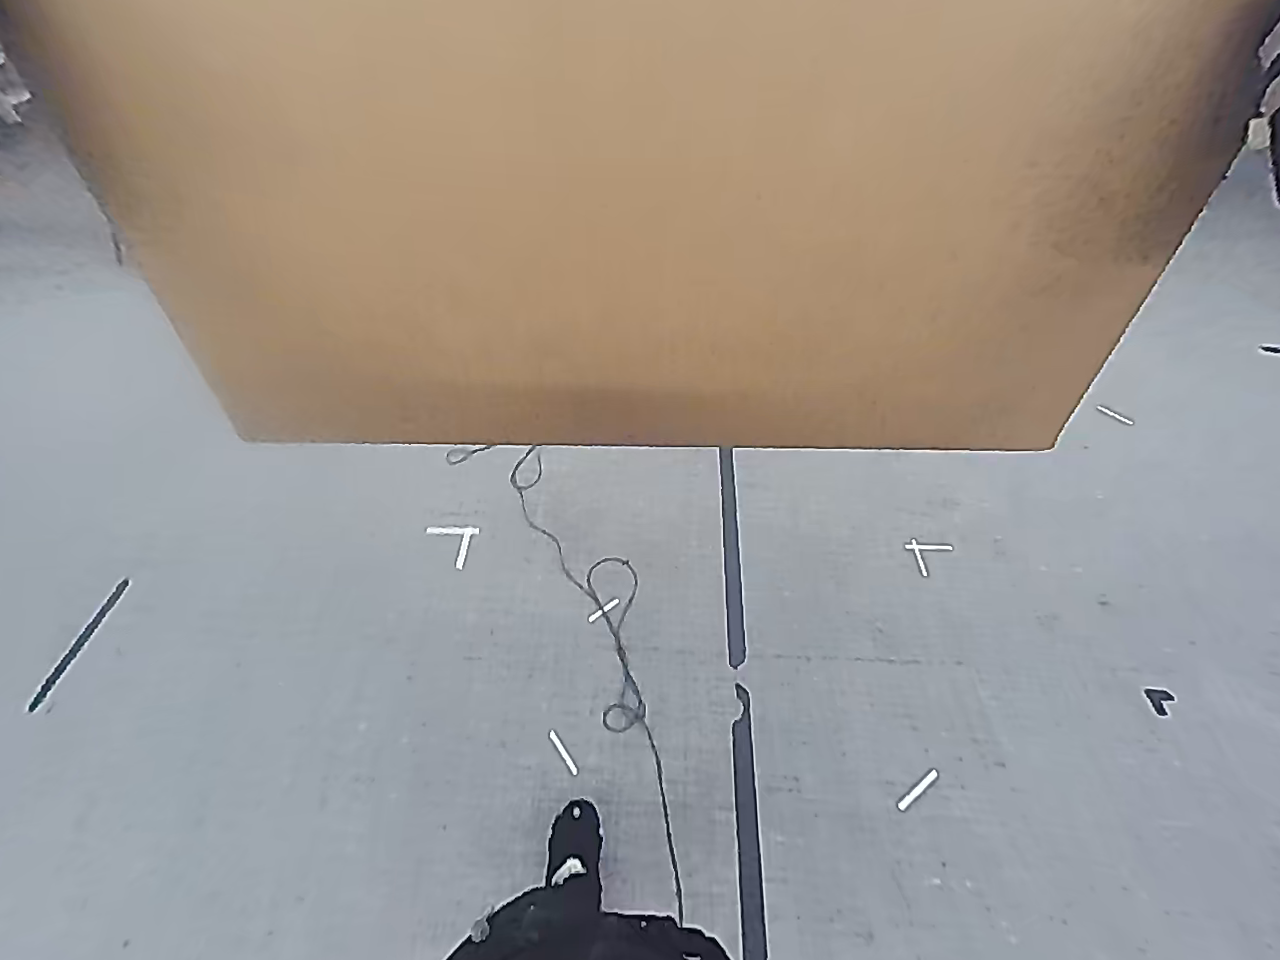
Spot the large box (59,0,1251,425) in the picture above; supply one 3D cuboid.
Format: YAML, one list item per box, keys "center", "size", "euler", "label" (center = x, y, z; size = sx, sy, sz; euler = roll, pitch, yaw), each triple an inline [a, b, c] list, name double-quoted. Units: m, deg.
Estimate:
- center: [0.004, -0.239, 0.301]
  size: [0.408, 0.320, 0.320]
  euler: [1, 42, -1]
  label: "large box"
